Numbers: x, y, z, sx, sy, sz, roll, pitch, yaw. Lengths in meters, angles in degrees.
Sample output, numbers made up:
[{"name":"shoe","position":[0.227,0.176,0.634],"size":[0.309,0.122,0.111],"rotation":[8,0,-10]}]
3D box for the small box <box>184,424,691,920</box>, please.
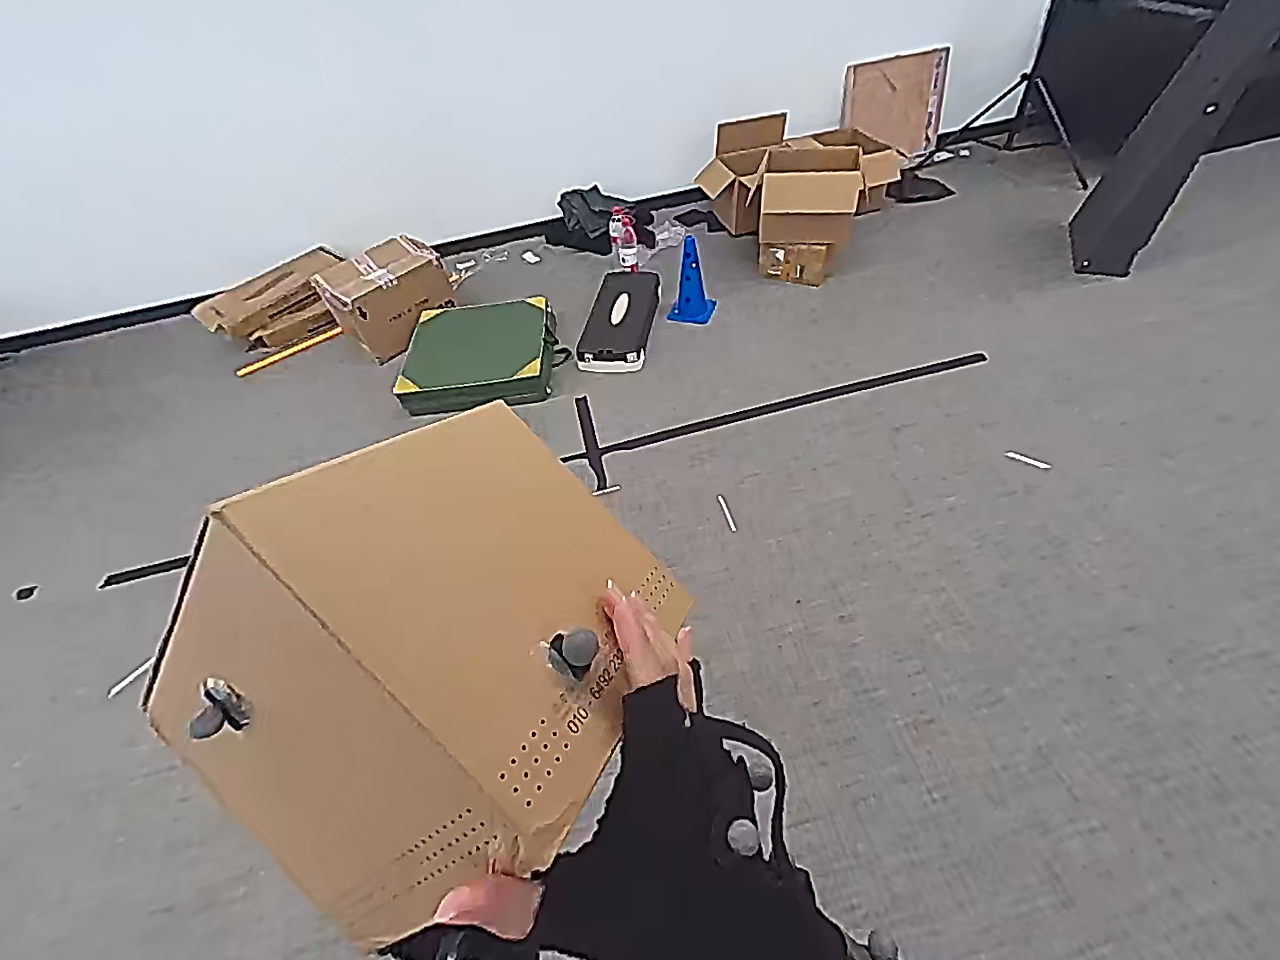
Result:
[{"name":"small box","position":[-0.103,0.102,0.309],"size":[0.176,0.179,0.168],"rotation":[45,30,1]}]
